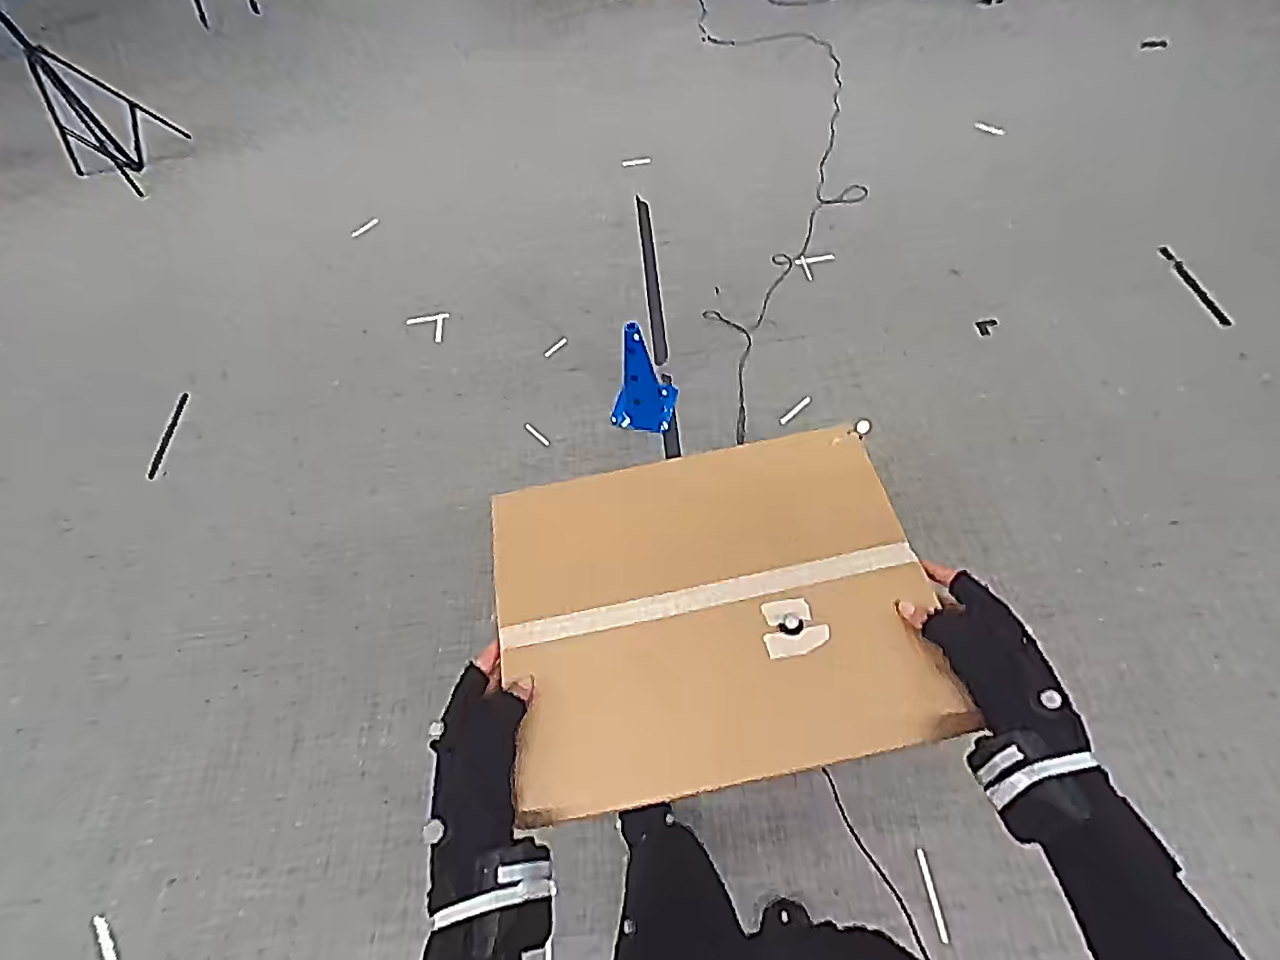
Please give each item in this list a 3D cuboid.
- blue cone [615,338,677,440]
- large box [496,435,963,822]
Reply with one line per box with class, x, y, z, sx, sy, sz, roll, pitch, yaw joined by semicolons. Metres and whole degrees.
blue cone;0.001;-0.309;1.706;0.193;0.380;0.192;10;61;14
large box;0.072;0.192;0.665;0.408;0.320;0.320;-12;61;-1
